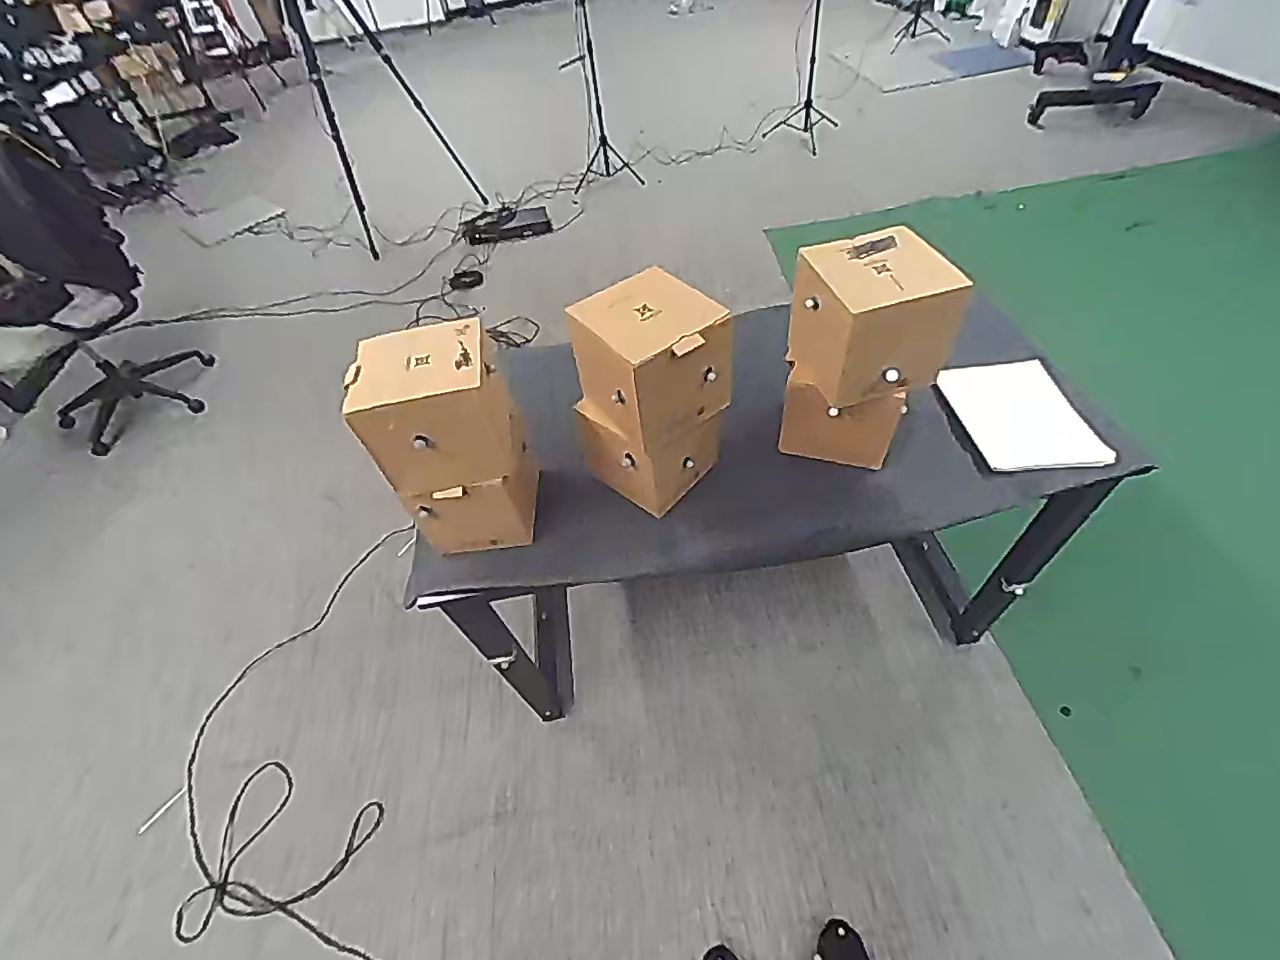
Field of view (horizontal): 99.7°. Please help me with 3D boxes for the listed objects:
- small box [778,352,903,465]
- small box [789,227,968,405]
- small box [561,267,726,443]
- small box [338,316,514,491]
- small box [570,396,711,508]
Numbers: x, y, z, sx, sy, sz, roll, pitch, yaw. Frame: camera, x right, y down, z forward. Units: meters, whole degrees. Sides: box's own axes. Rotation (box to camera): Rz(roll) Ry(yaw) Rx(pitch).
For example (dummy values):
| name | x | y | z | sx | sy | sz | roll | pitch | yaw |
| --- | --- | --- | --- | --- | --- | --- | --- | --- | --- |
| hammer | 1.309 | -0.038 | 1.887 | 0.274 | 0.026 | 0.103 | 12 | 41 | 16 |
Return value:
| name | x | y | z | sx | sy | sz | roll | pitch | yaw |
| --- | --- | --- | --- | --- | --- | --- | --- | --- | --- |
| small box | 0.347 | -0.147 | 0.935 | 0.179 | 0.176 | 0.168 | 13 | 54 | 19 |
| small box | 0.332 | -0.240 | 0.799 | 0.168 | 0.176 | 0.179 | -14 | 50 | -2 |
| small box | 0.010 | -0.177 | 0.796 | 0.168 | 0.176 | 0.179 | -32 | 53 | -19 |
| small box | -0.292 | -0.104 | 0.778 | 0.179 | 0.176 | 0.168 | -13 | 49 | -2 |
| small box | 0.011 | -0.077 | 0.926 | 0.179 | 0.176 | 0.168 | 32 | 61 | 29 |
